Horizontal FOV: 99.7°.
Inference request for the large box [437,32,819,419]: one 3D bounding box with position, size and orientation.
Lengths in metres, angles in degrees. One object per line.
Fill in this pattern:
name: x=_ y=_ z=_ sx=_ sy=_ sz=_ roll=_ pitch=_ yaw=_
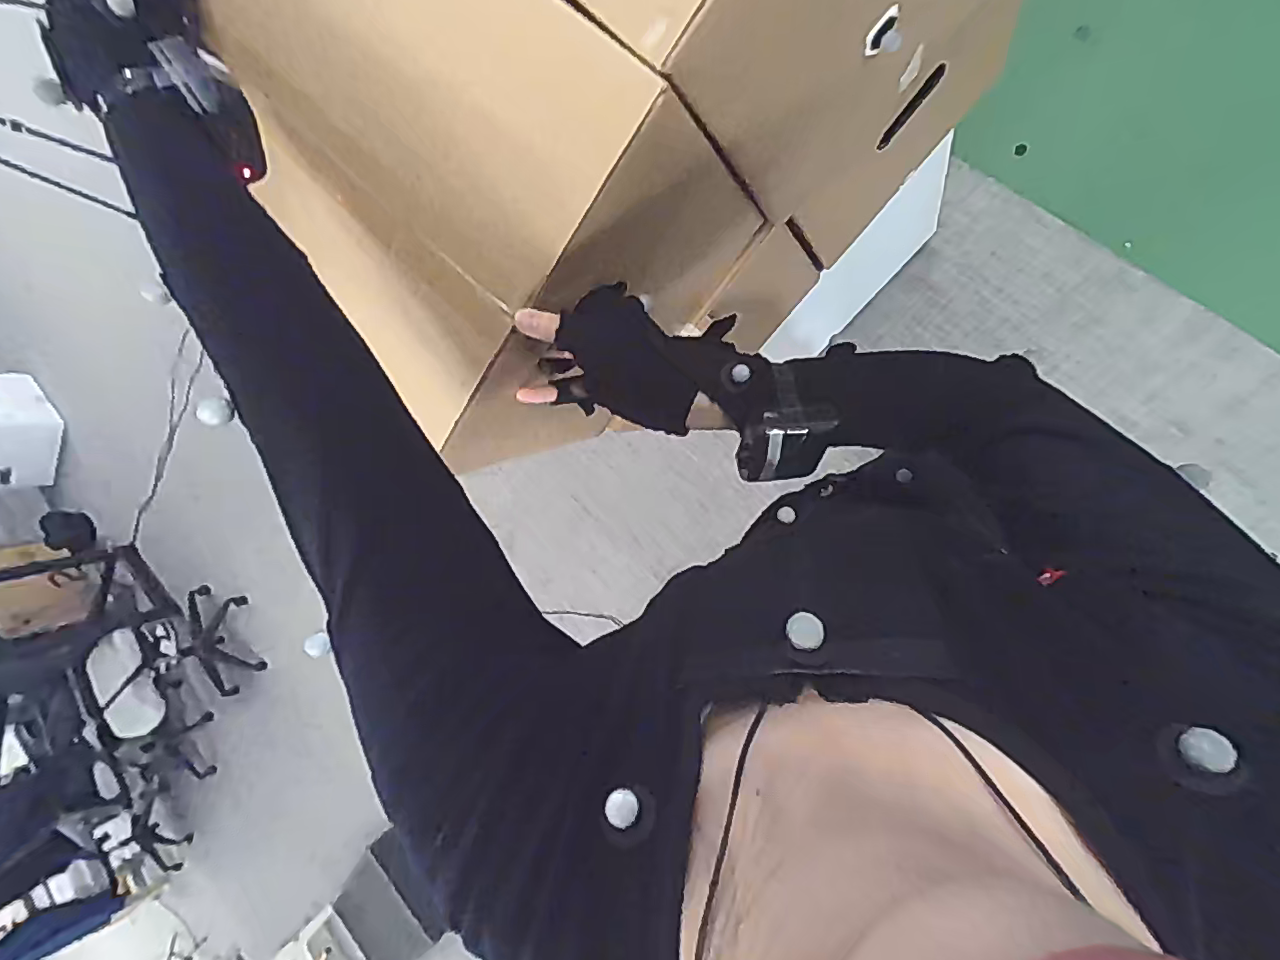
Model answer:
large box: x=-0.008 y=-0.333 z=0.808 sx=0.408 sy=0.320 sz=0.320 roll=46 pitch=113 yaw=15
